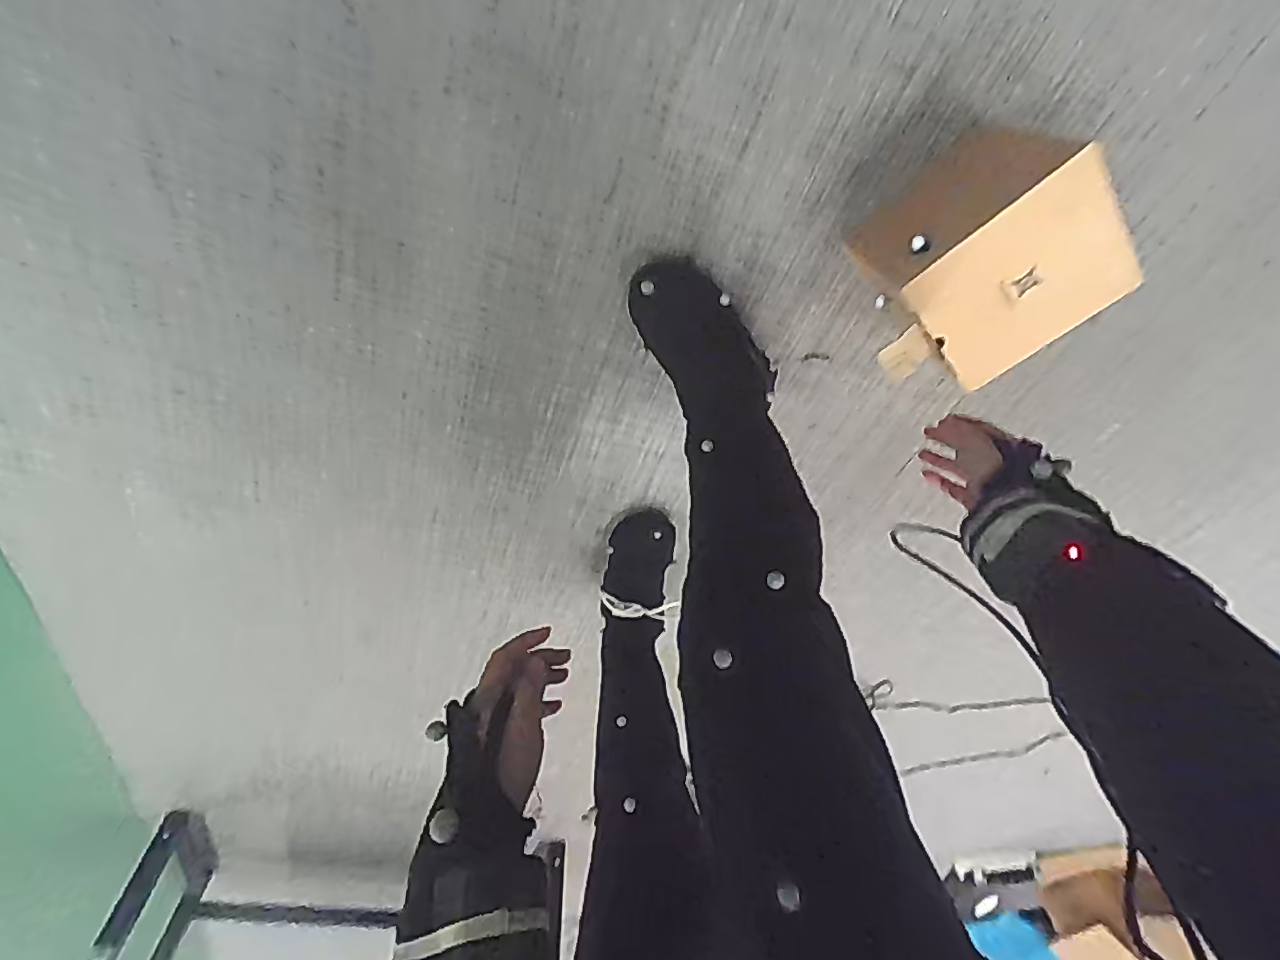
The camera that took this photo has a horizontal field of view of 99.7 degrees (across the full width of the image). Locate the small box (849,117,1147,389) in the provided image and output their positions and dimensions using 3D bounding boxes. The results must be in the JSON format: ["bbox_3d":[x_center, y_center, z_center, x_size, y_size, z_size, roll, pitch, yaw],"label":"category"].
[{"bbox_3d":[0.355,-0.237,0.563,0.179,0.176,0.168,-38,122,25],"label":"small box"}]
